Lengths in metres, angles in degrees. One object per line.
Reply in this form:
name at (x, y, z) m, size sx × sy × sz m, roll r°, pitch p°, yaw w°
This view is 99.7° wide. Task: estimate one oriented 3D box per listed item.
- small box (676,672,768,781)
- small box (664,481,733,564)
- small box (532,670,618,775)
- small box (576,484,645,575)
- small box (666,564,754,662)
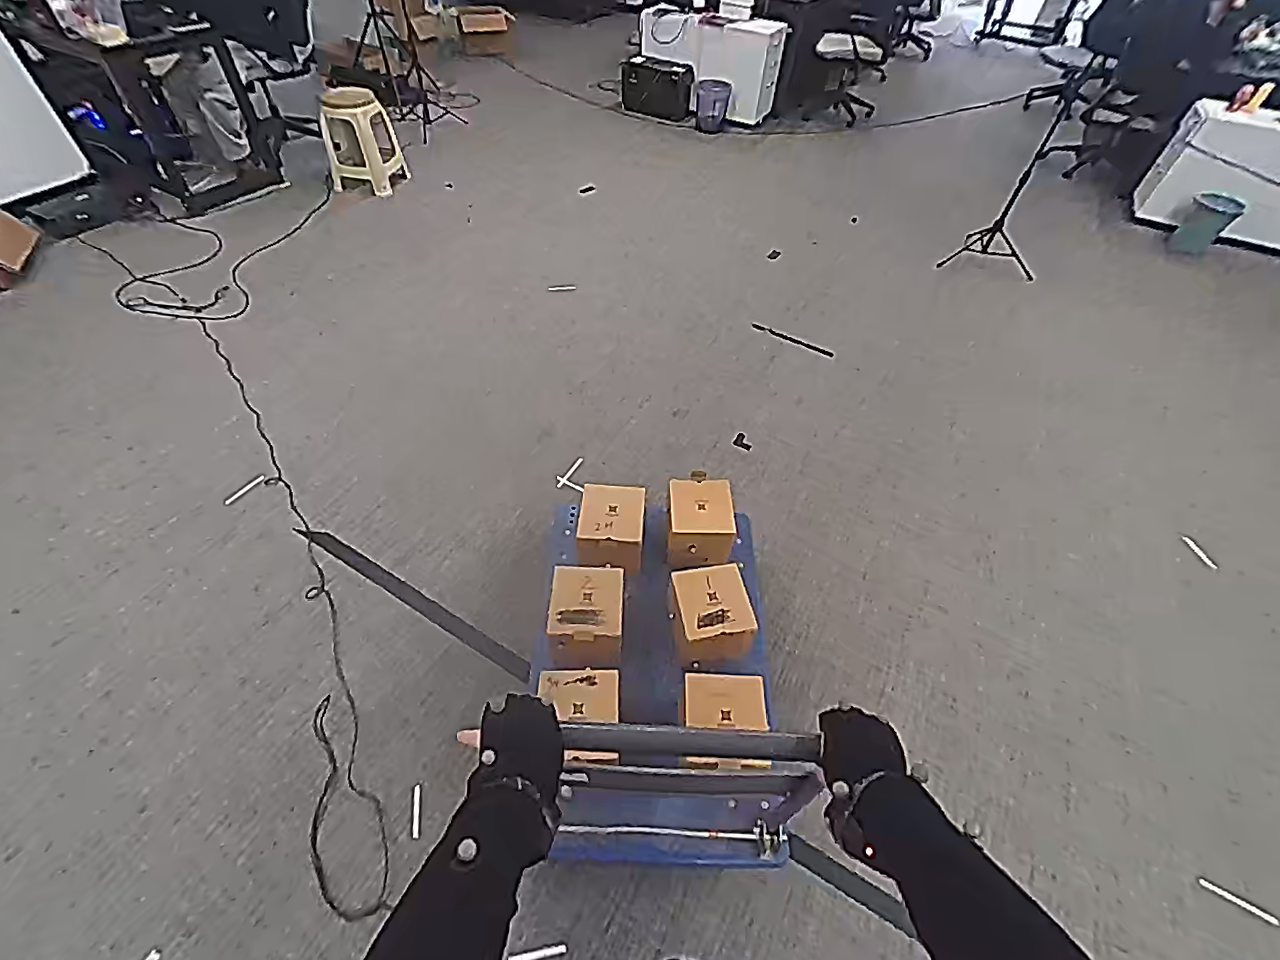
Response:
small box at (0.168, 0.529, 1.153) m, size 0.168 × 0.176 × 0.179 m, roll 4°, pitch 50°, yaw -1°
small box at (0.154, 0.120, 1.490) m, size 0.168 × 0.176 × 0.179 m, roll 1°, pitch 50°, yaw -3°
small box at (-0.130, 0.517, 1.144) m, size 0.168 × 0.176 × 0.179 m, roll 1°, pitch 51°, yaw -4°
small box at (-0.078, 0.135, 1.461) m, size 0.168 × 0.176 × 0.179 m, roll 4°, pitch 51°, yaw 0°
small box at (0.163, 0.330, 1.316) m, size 0.168 × 0.176 × 0.179 m, roll -6°, pitch 50°, yaw -9°
